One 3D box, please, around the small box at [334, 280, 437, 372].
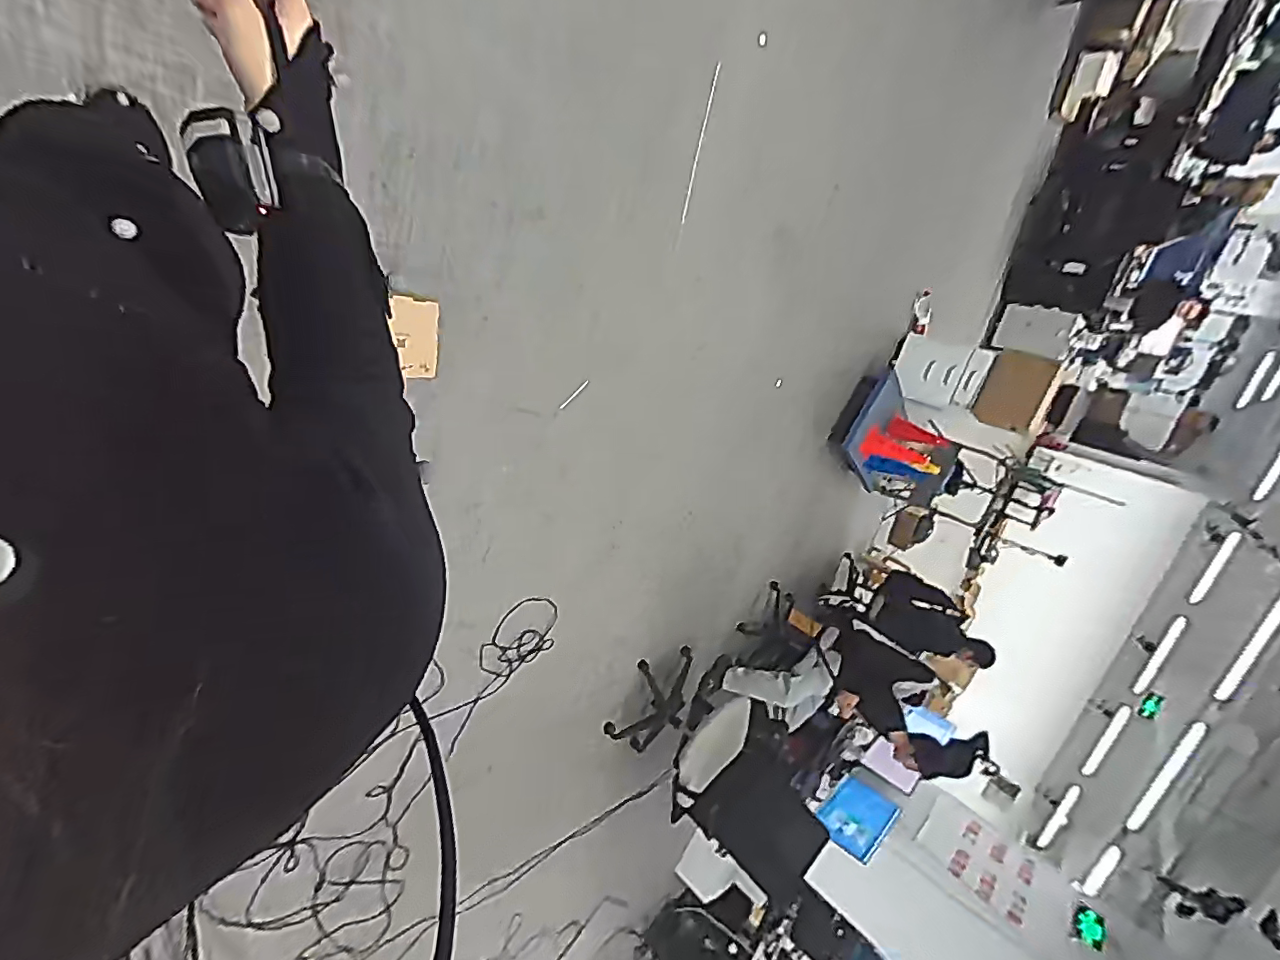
[{"bbox_3d":[-0.583,-0.351,1.233,0.168,0.176,0.179,-11,119,-45],"label":"small box"}]
